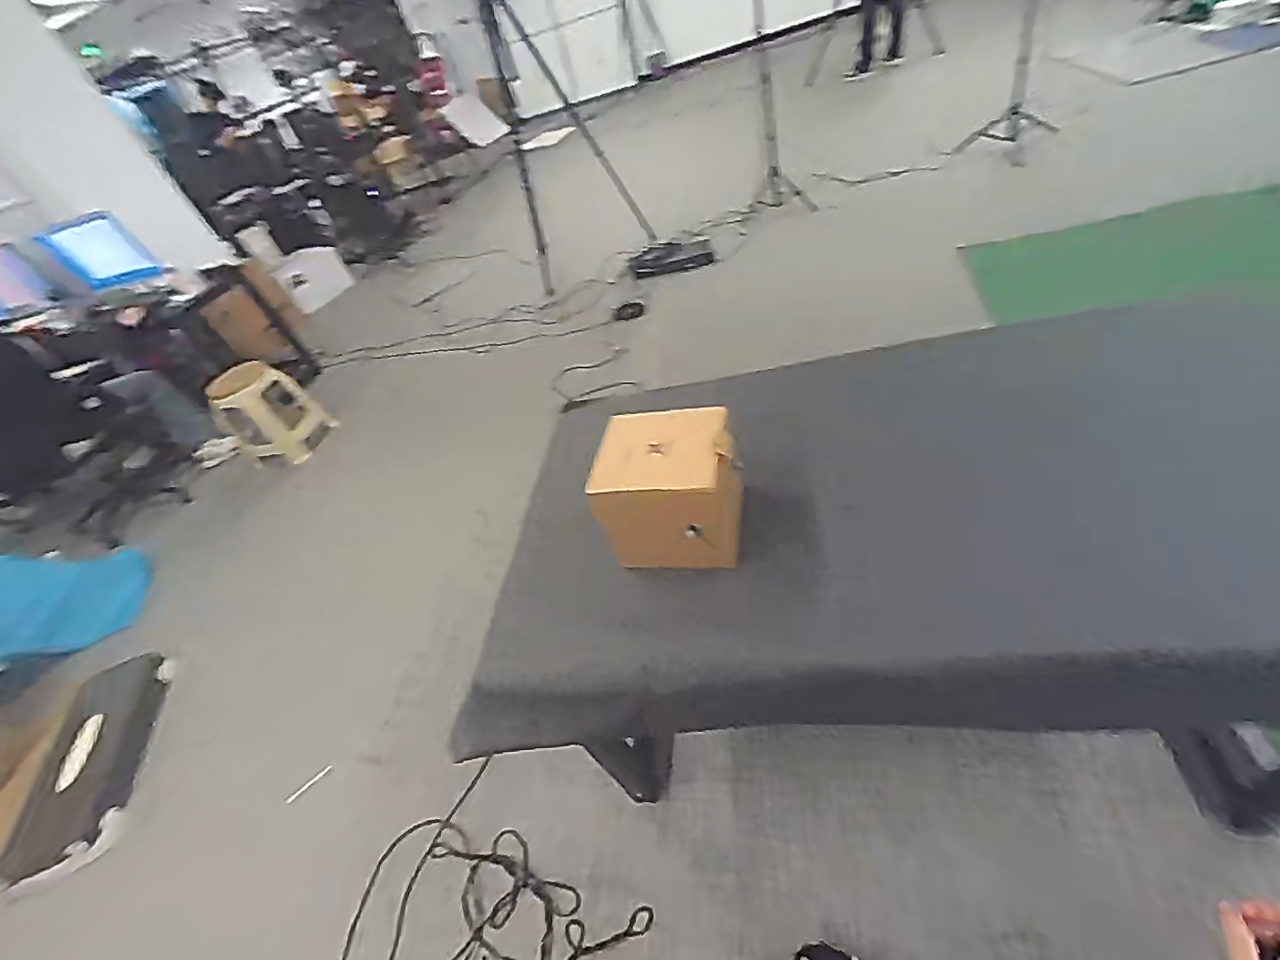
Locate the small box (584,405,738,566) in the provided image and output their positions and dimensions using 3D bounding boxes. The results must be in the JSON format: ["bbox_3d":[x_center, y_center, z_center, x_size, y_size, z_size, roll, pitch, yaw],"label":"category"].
[{"bbox_3d":[0.044,0.013,0.792,0.179,0.176,0.168,-4,44,19],"label":"small box"}]
